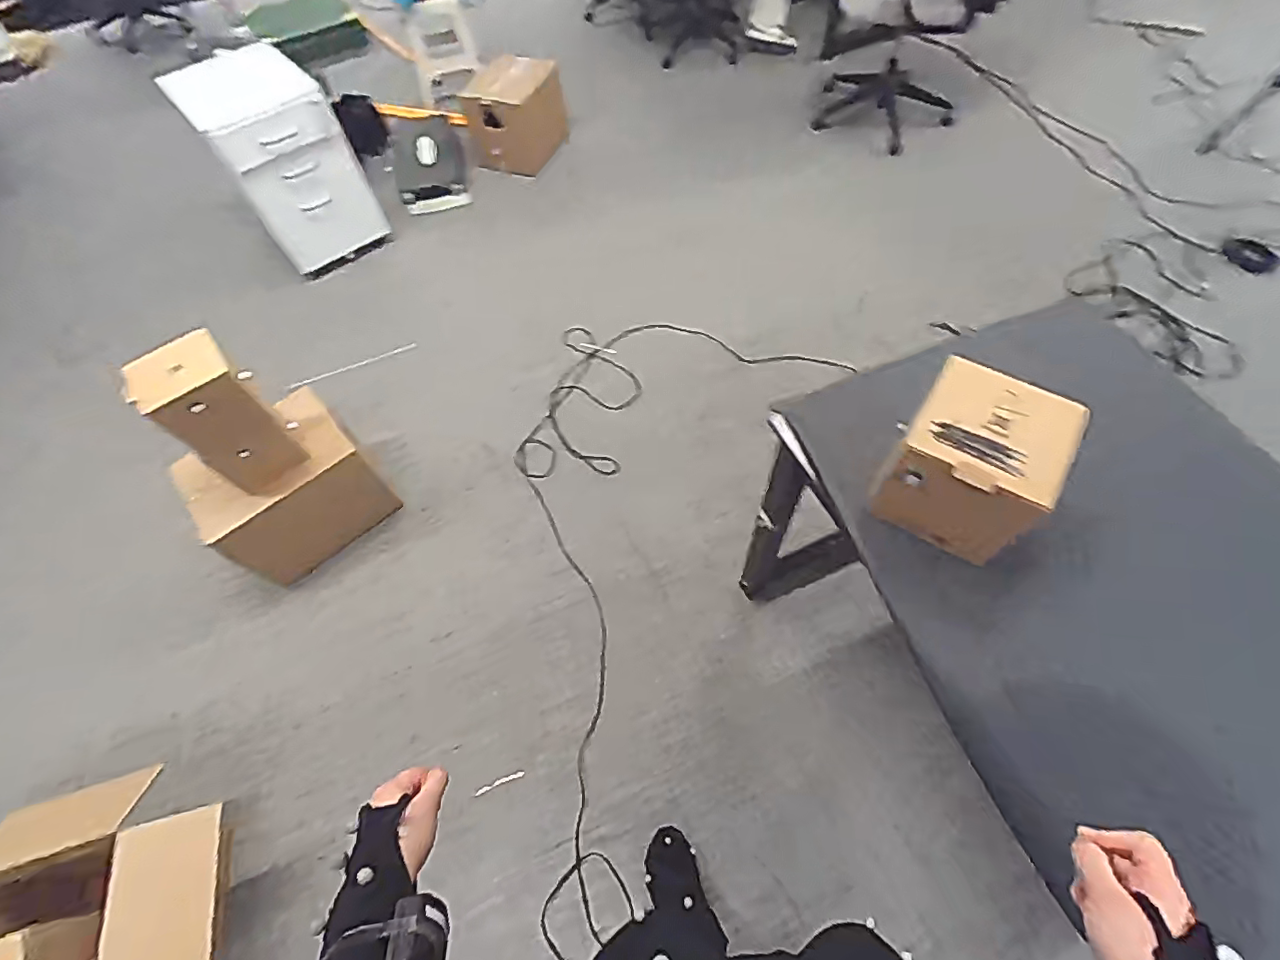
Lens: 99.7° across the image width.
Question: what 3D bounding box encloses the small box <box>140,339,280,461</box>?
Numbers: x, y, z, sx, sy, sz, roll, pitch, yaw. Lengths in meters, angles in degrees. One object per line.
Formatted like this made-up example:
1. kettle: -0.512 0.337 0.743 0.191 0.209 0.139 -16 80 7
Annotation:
1. small box: -0.964 -0.178 1.232 0.179 0.176 0.168 -37 65 -16

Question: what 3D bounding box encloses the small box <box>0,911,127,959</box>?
1. small box: -1.042 0.881 0.921 0.179 0.176 0.168 -22 62 -9

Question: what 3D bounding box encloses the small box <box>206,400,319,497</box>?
1. small box: -0.964 -0.088 1.368 0.179 0.176 0.168 -37 64 -17
